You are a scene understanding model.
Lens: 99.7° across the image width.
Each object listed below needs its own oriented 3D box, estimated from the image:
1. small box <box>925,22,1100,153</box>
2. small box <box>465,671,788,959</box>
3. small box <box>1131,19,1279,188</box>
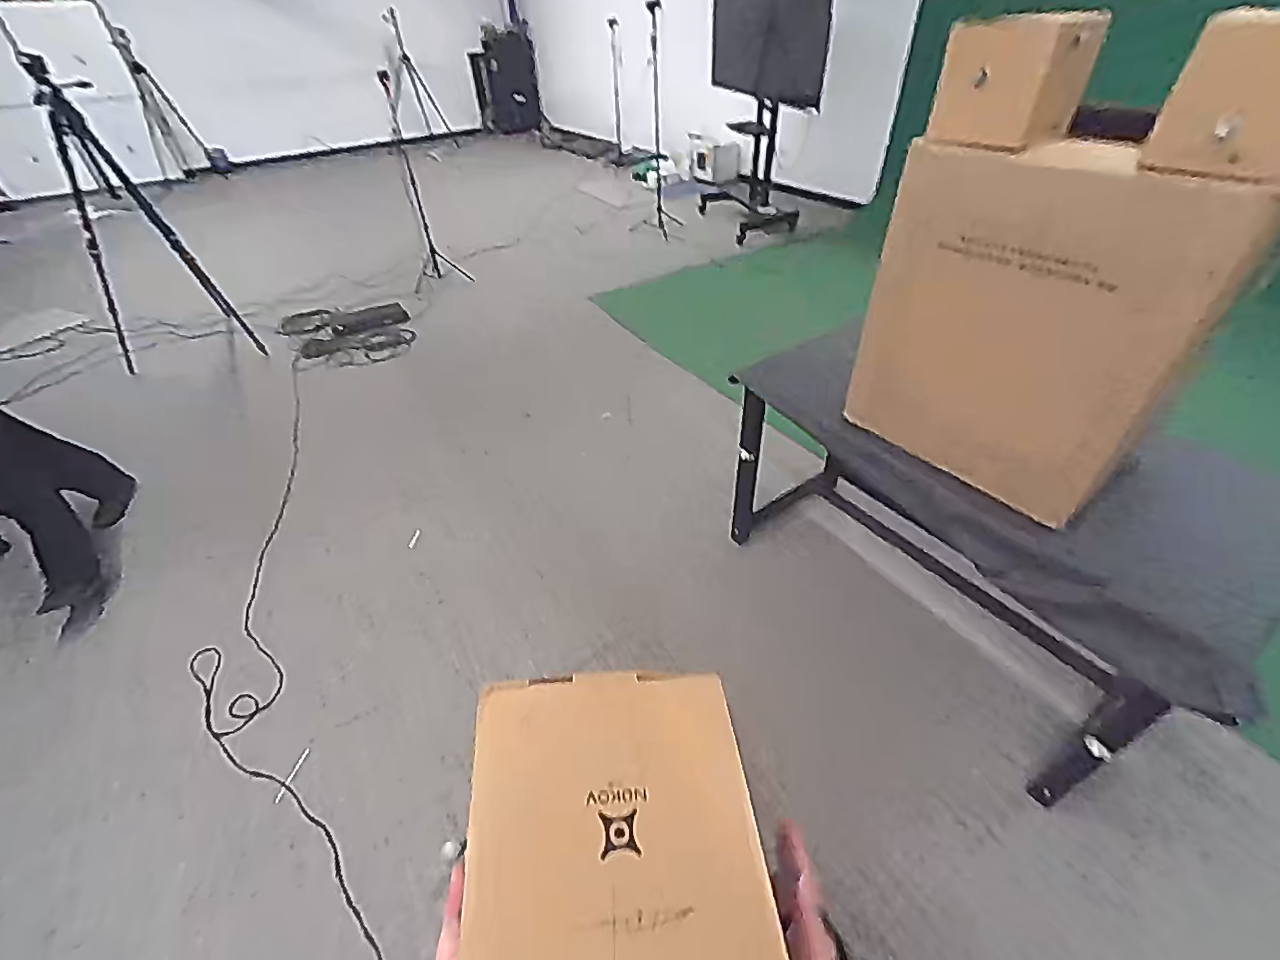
[{"bbox_3d":[0.639,-0.685,0.951,0.168,0.176,0.179,-28,44,-24],"label":"small box"},{"bbox_3d":[-0.027,0.252,0.367,0.168,0.176,0.179,2,45,-13],"label":"small box"},{"bbox_3d":[0.839,-0.524,0.749,0.179,0.176,0.168,-32,49,-28],"label":"small box"}]
